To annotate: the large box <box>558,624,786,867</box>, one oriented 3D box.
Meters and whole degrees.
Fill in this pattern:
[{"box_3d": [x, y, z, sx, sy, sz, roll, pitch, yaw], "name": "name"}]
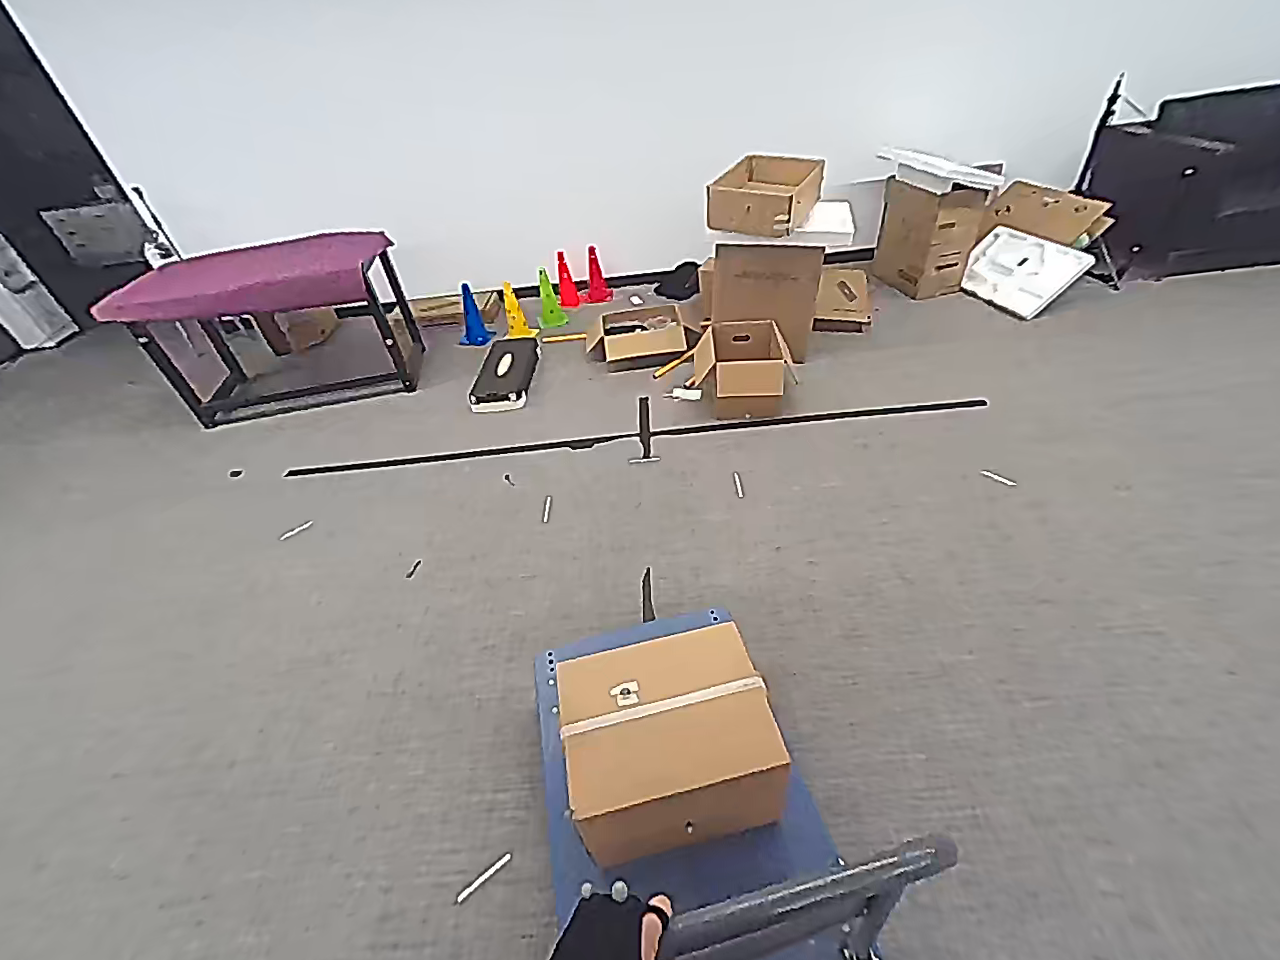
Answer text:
[{"box_3d": [0.064, 0.572, 1.174, 0.408, 0.320, 0.320, -13, 40, -5], "name": "large box"}]
